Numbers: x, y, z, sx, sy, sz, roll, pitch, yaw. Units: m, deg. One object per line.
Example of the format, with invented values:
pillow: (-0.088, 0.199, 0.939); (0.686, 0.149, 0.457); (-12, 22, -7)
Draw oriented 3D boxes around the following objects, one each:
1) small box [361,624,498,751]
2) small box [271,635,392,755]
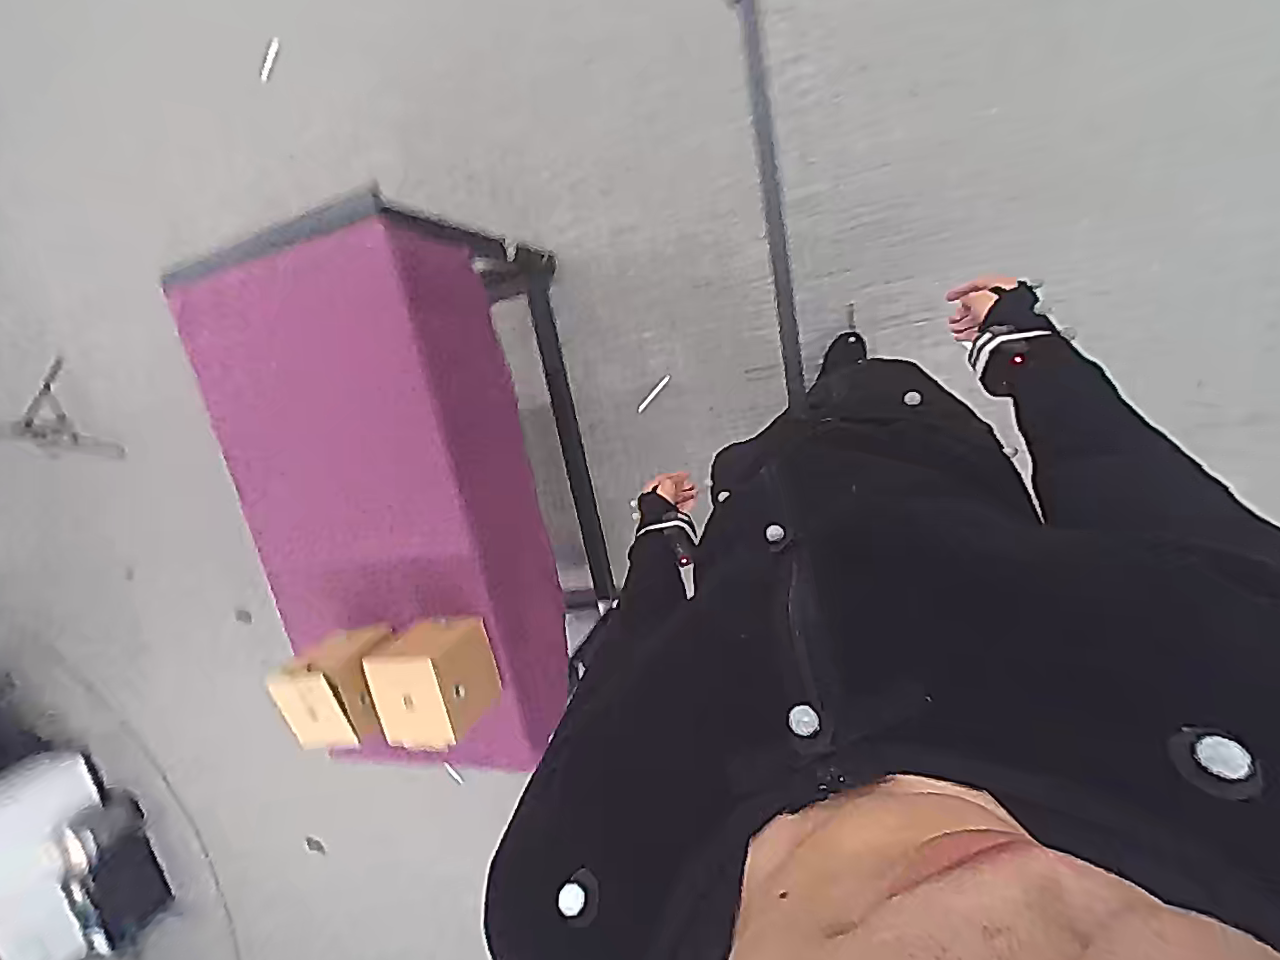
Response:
small box: (-0.407, 0.408, 1.077); (0.168, 0.176, 0.179); (-9, 101, 19)
small box: (-0.630, 0.457, 1.157); (0.168, 0.176, 0.179); (-12, 100, 19)
